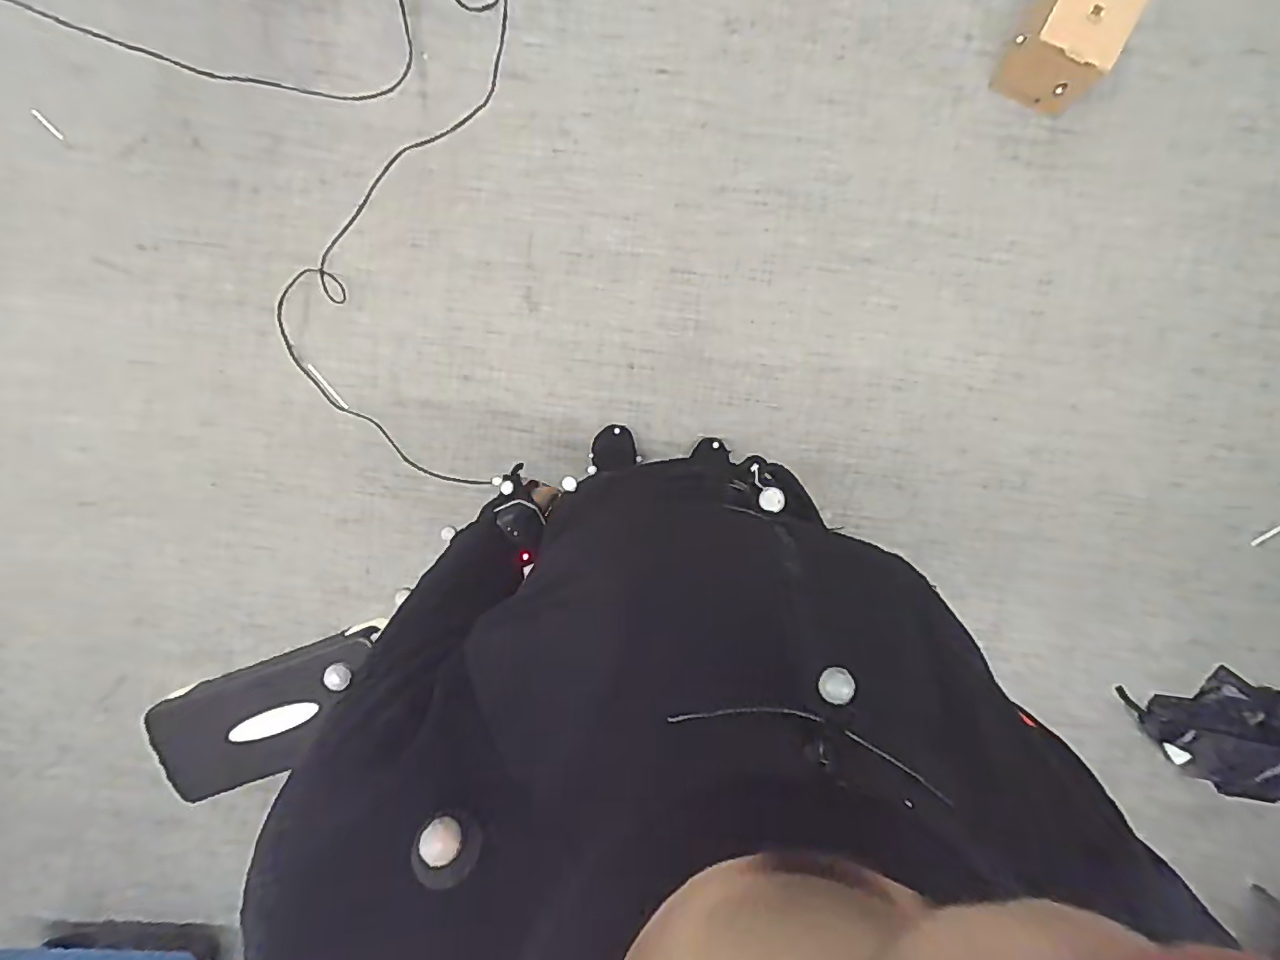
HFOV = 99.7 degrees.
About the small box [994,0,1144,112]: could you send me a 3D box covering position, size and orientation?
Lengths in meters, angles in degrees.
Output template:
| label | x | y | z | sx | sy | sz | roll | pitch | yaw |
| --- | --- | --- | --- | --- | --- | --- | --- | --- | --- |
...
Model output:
| label | x | y | z | sx | sy | sz | roll | pitch | yaw |
| --- | --- | --- | --- | --- | --- | --- | --- | --- | --- |
| small box | 0.911 | -0.946 | 1.166 | 0.168 | 0.176 | 0.179 | 23 | 96 | -2 |
